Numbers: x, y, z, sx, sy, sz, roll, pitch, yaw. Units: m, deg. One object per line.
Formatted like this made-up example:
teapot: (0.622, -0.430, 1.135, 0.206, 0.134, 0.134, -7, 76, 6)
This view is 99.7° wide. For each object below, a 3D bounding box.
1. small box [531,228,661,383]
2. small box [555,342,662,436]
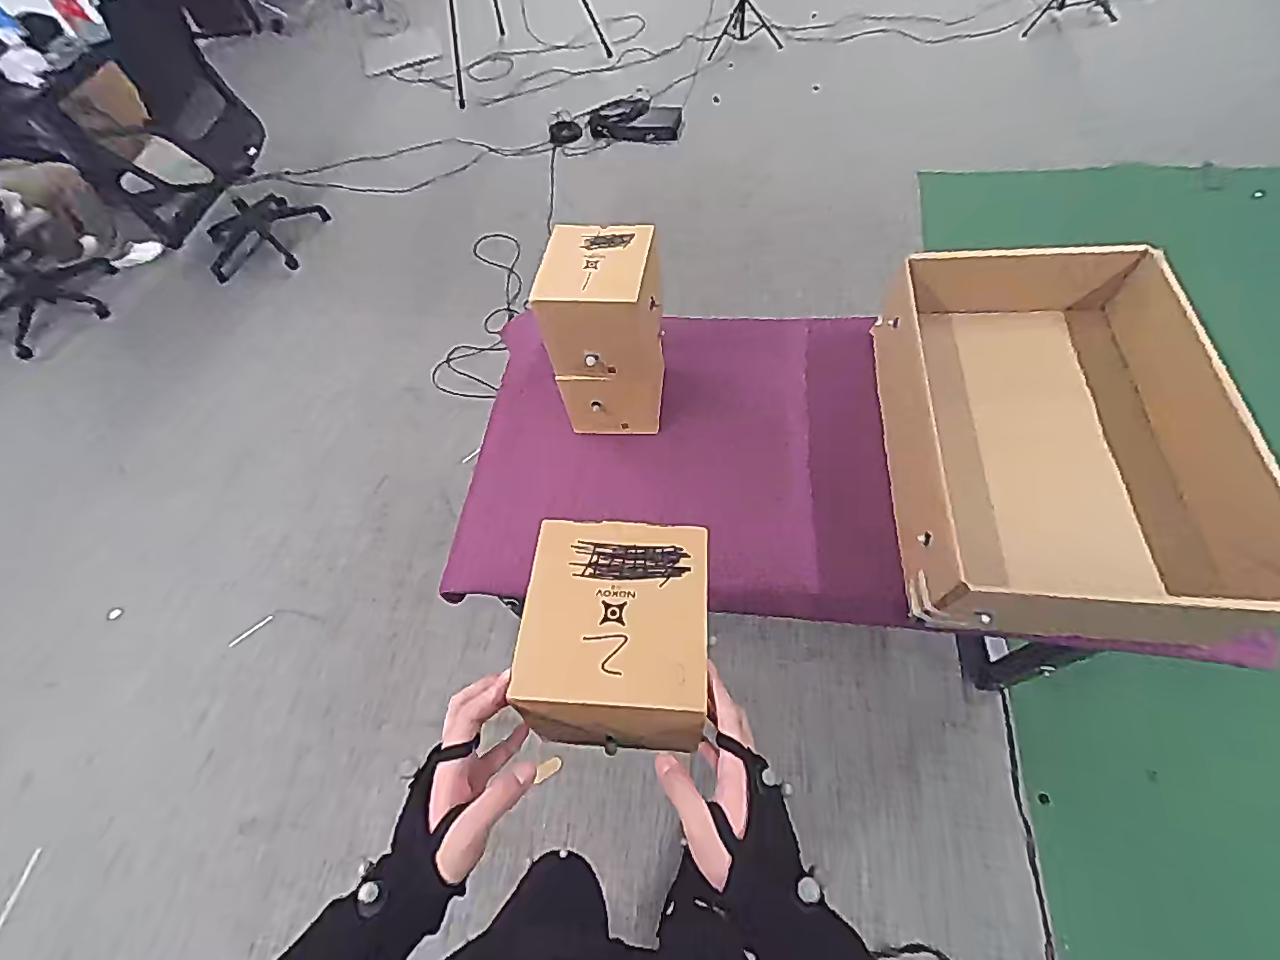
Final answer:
small box: (-0.059, -0.284, 0.886, 0.168, 0.176, 0.179, 5, 60, 11)
small box: (-0.049, -0.197, 1.026, 0.168, 0.176, 0.179, 1, 59, 8)
